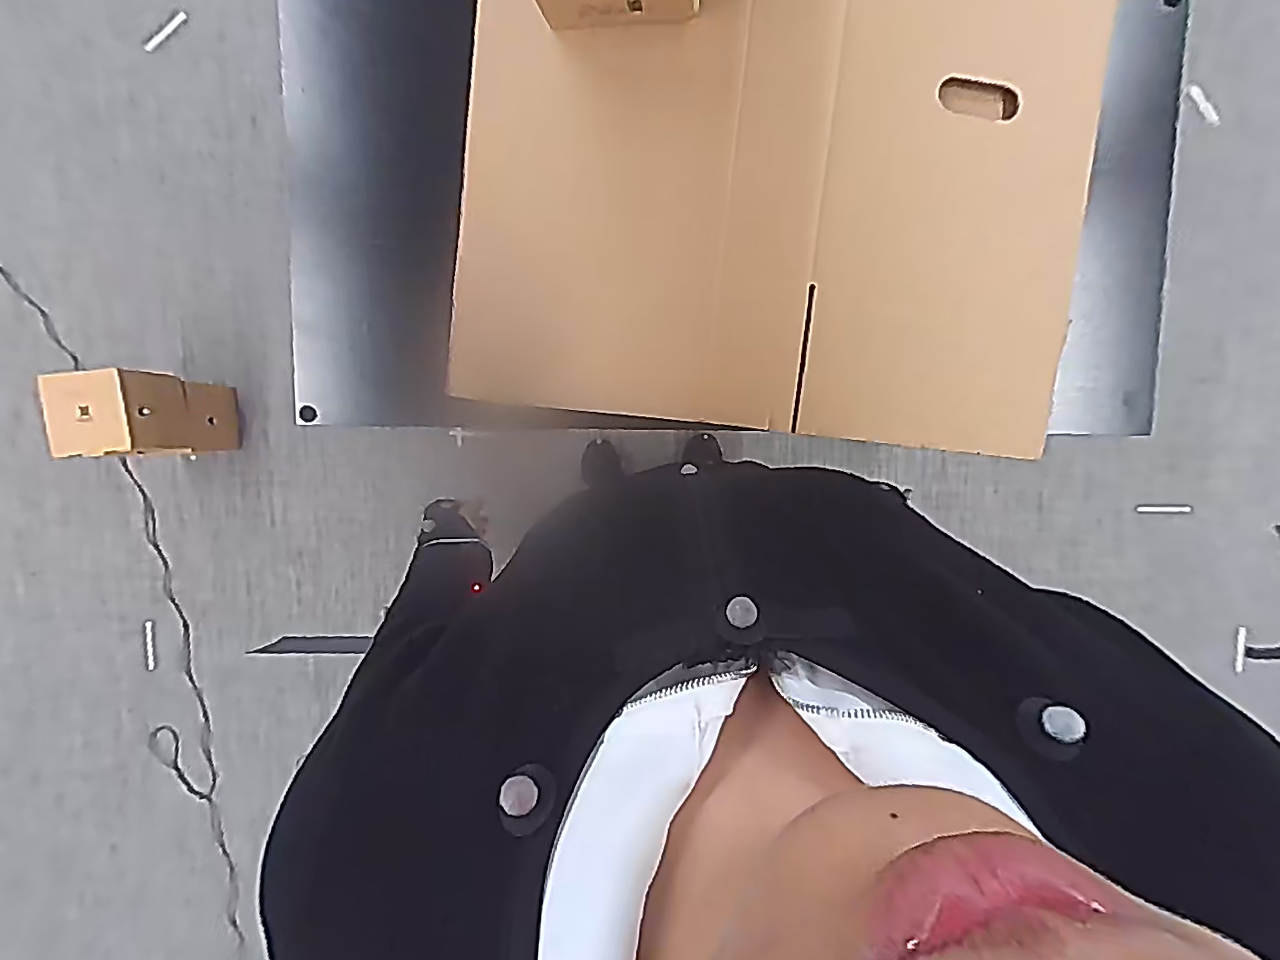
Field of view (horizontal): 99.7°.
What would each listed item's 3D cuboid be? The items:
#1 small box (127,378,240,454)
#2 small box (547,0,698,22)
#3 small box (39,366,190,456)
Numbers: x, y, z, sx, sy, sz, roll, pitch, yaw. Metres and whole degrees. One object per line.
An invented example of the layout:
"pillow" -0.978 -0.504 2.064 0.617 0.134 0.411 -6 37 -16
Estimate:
"small box" -1.159 -0.159 1.369 0.168 0.176 0.179 -3 96 -1
"small box" -0.027 -0.562 0.478 0.168 0.176 0.179 7 94 13
"small box" -1.157 -0.151 1.207 0.168 0.176 0.179 -7 94 -2
